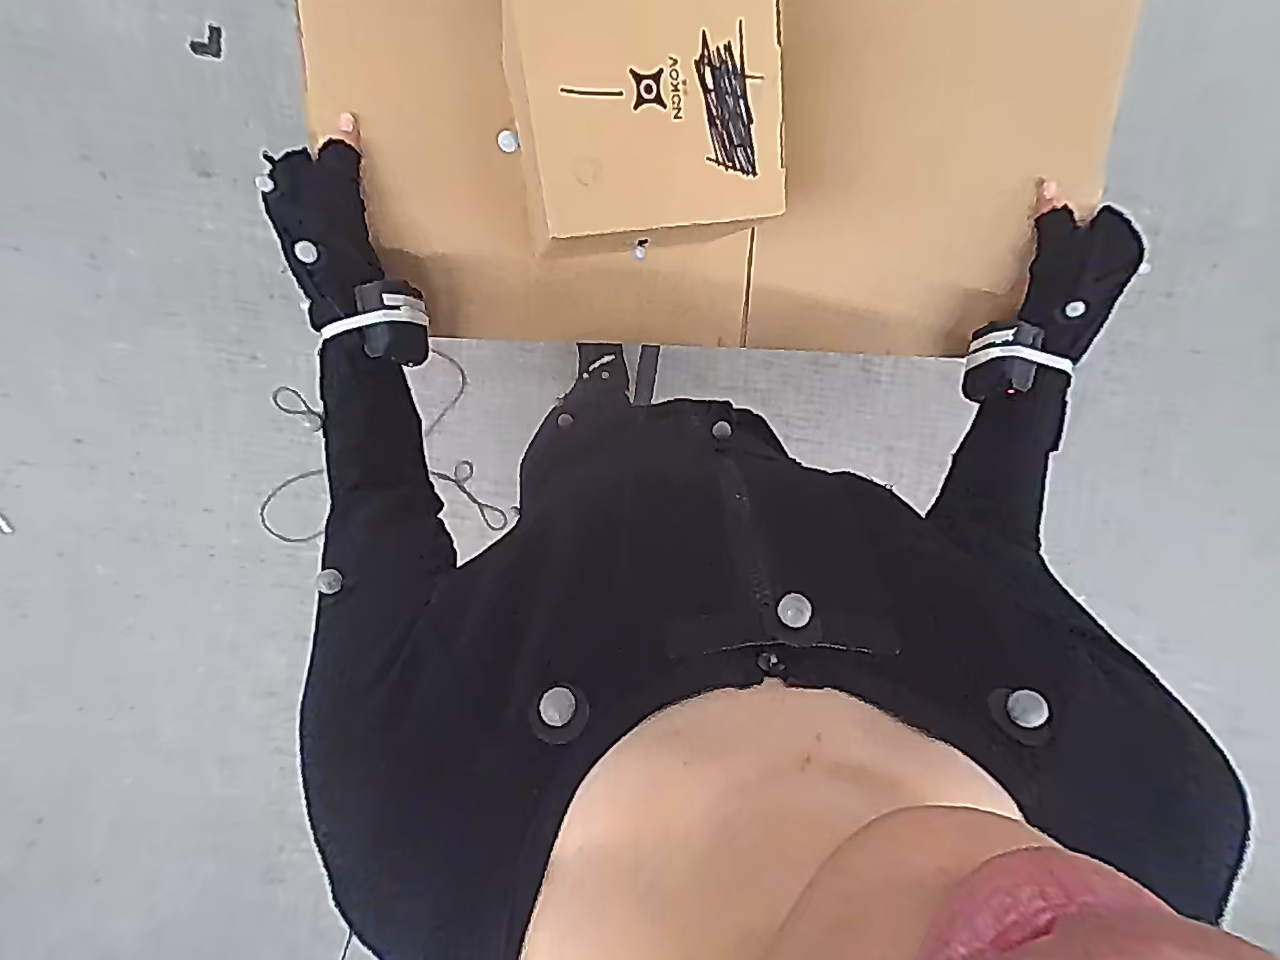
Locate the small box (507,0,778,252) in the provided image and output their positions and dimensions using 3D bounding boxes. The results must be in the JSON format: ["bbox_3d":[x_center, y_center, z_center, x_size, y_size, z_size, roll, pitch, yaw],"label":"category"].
[{"bbox_3d":[-0.007,-0.287,0.438,0.179,0.176,0.168,-10,108,-10],"label":"small box"}]
